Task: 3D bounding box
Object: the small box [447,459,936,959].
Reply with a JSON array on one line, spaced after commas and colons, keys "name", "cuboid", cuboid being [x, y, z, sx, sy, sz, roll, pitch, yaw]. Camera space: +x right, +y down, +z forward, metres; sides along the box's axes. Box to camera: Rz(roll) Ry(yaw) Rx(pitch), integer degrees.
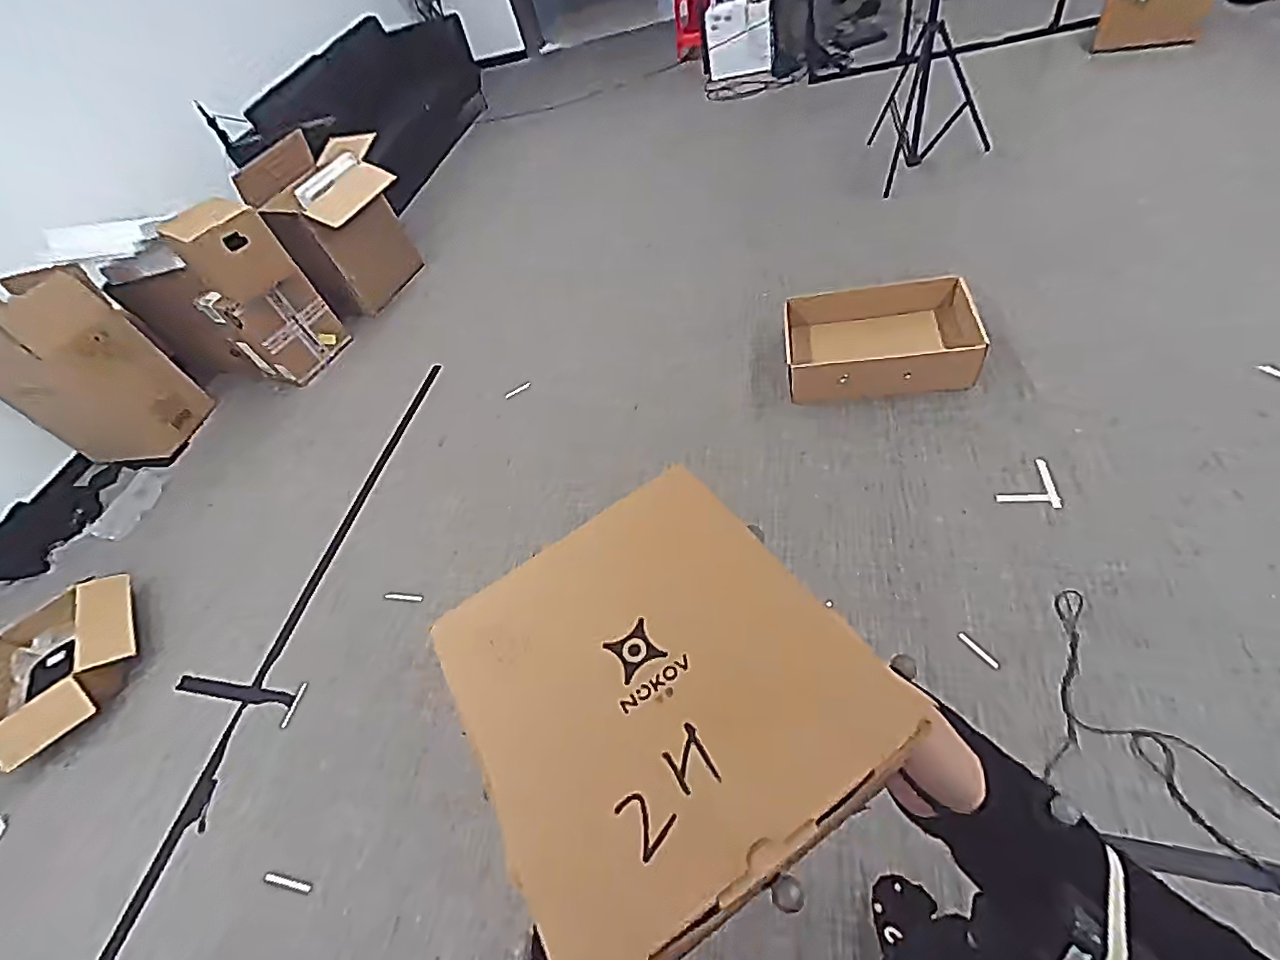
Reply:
[{"name": "small box", "cuboid": [0.023, 0.127, 0.311, 0.168, 0.176, 0.179, -32, 52, -10]}]
